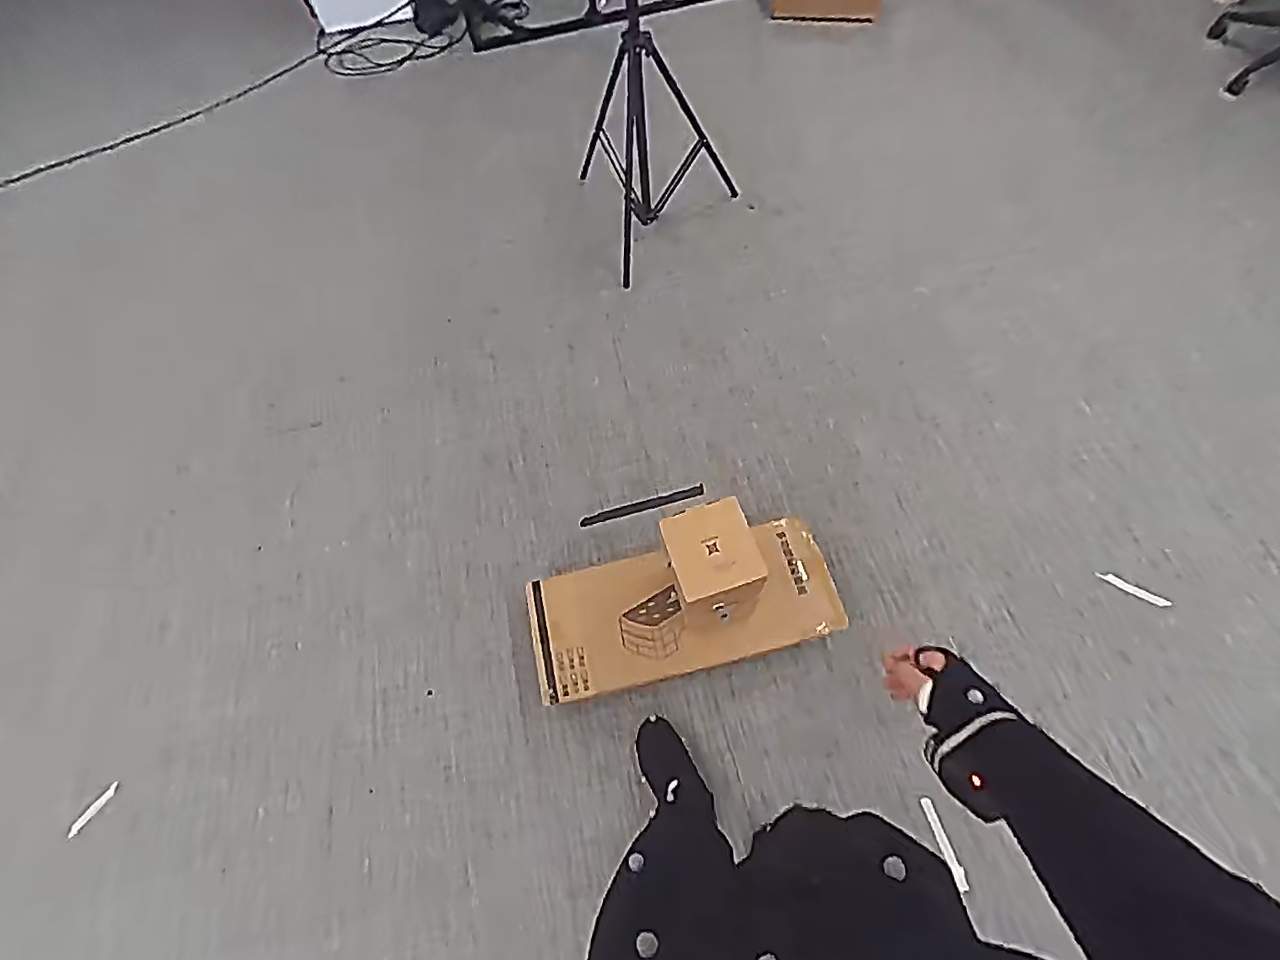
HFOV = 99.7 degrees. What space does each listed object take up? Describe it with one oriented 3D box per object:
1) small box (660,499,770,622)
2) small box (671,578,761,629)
[{"bbox_3d":[0.145,0.169,1.101,0.168,0.176,0.179,-19,65,-4],"label":"small box"},{"bbox_3d":[0.165,0.237,1.249,0.168,0.176,0.179,-16,65,-3],"label":"small box"}]
